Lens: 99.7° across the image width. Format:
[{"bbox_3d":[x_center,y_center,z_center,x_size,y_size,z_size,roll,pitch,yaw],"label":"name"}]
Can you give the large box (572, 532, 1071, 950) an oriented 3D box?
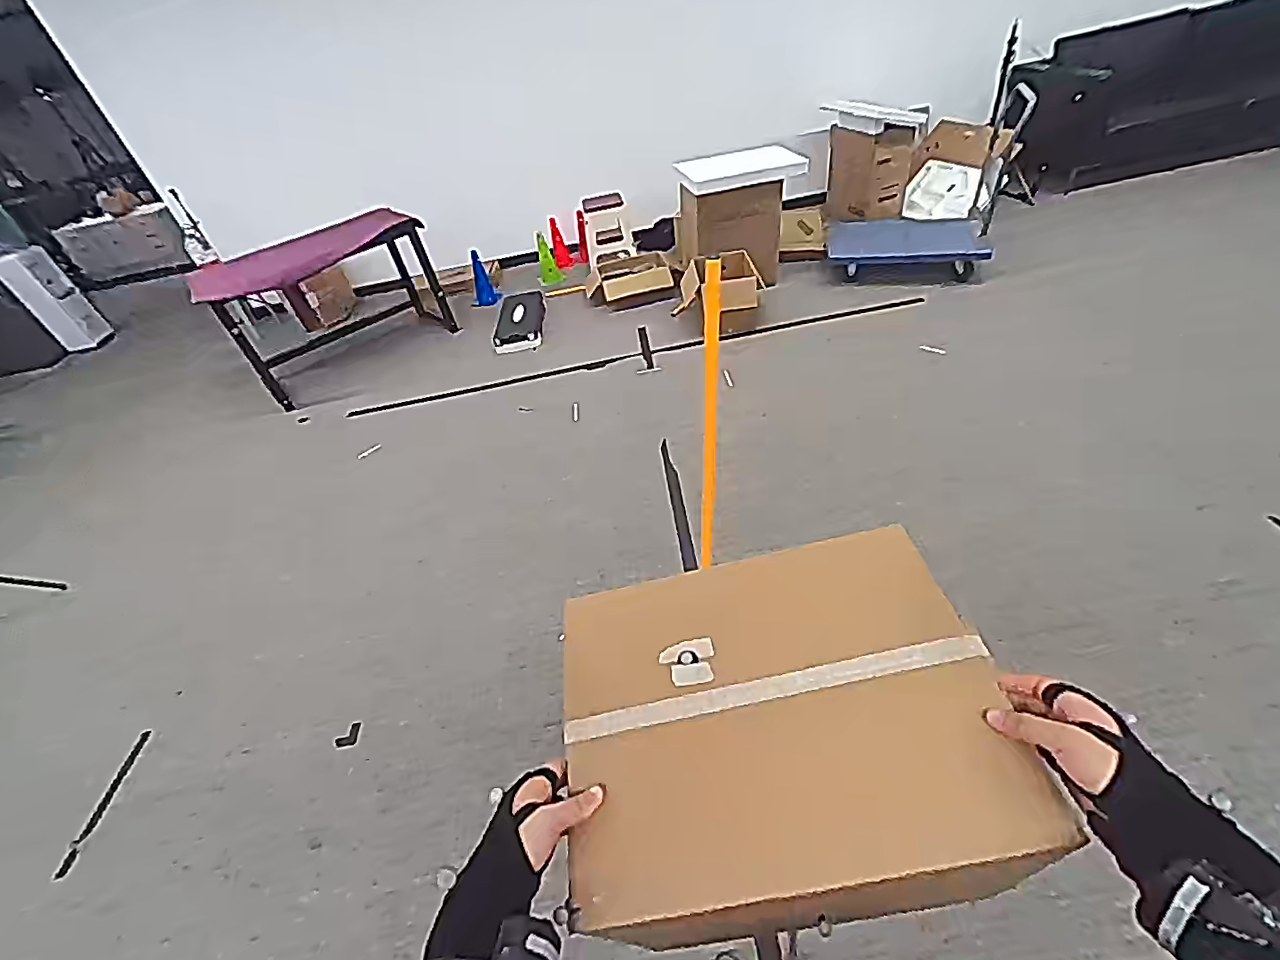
[{"bbox_3d":[0.164,0.316,0.638,0.408,0.320,0.320,-15,43,6],"label":"large box"}]
